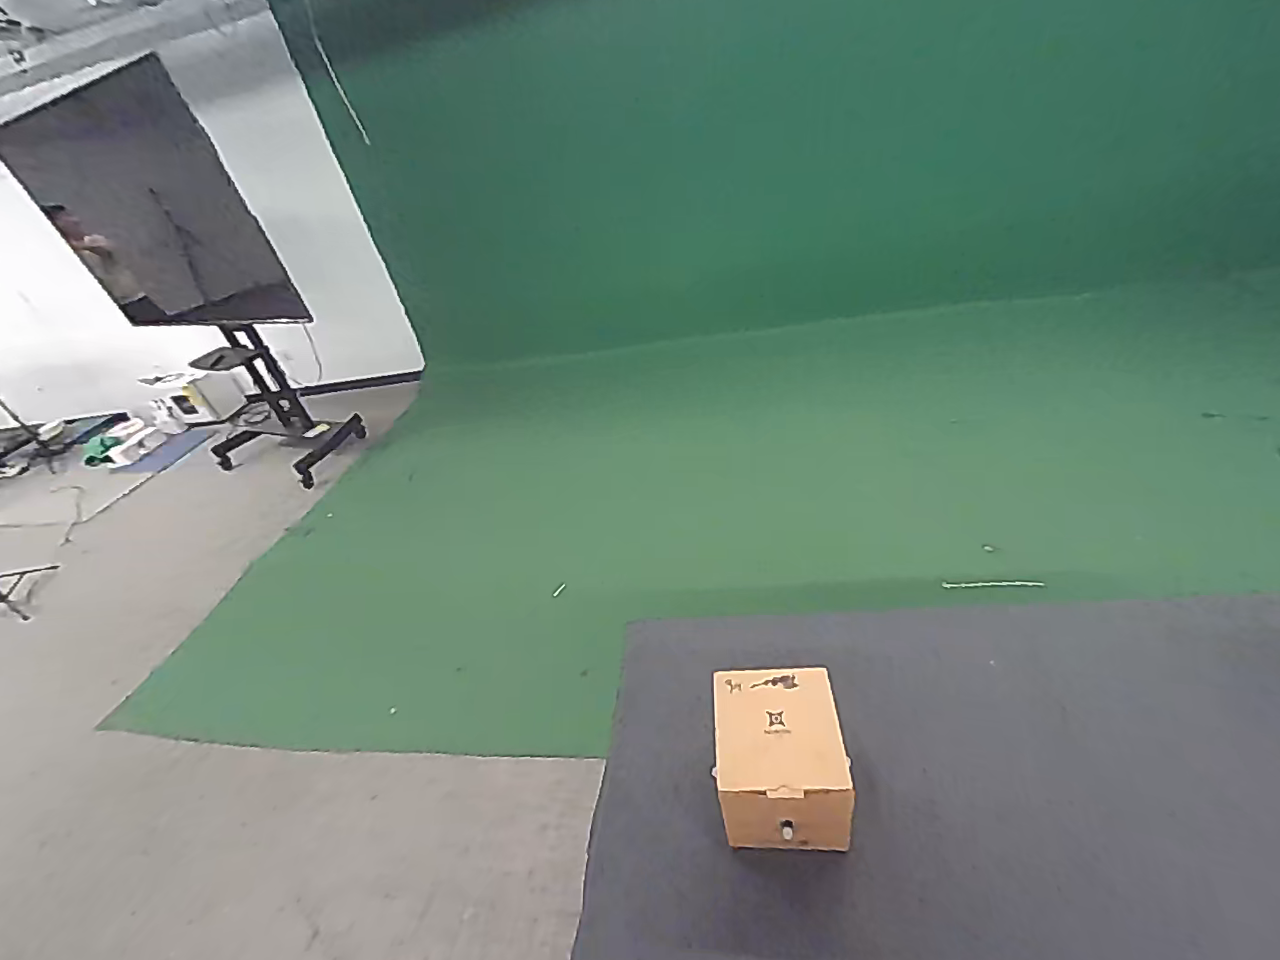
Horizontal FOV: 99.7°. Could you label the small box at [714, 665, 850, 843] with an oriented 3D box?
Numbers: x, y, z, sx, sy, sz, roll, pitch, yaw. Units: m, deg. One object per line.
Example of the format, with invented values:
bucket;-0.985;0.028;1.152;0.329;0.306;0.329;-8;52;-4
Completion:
small box;0.198;0.391;0.772;0.168;0.176;0.179;-6;36;10
